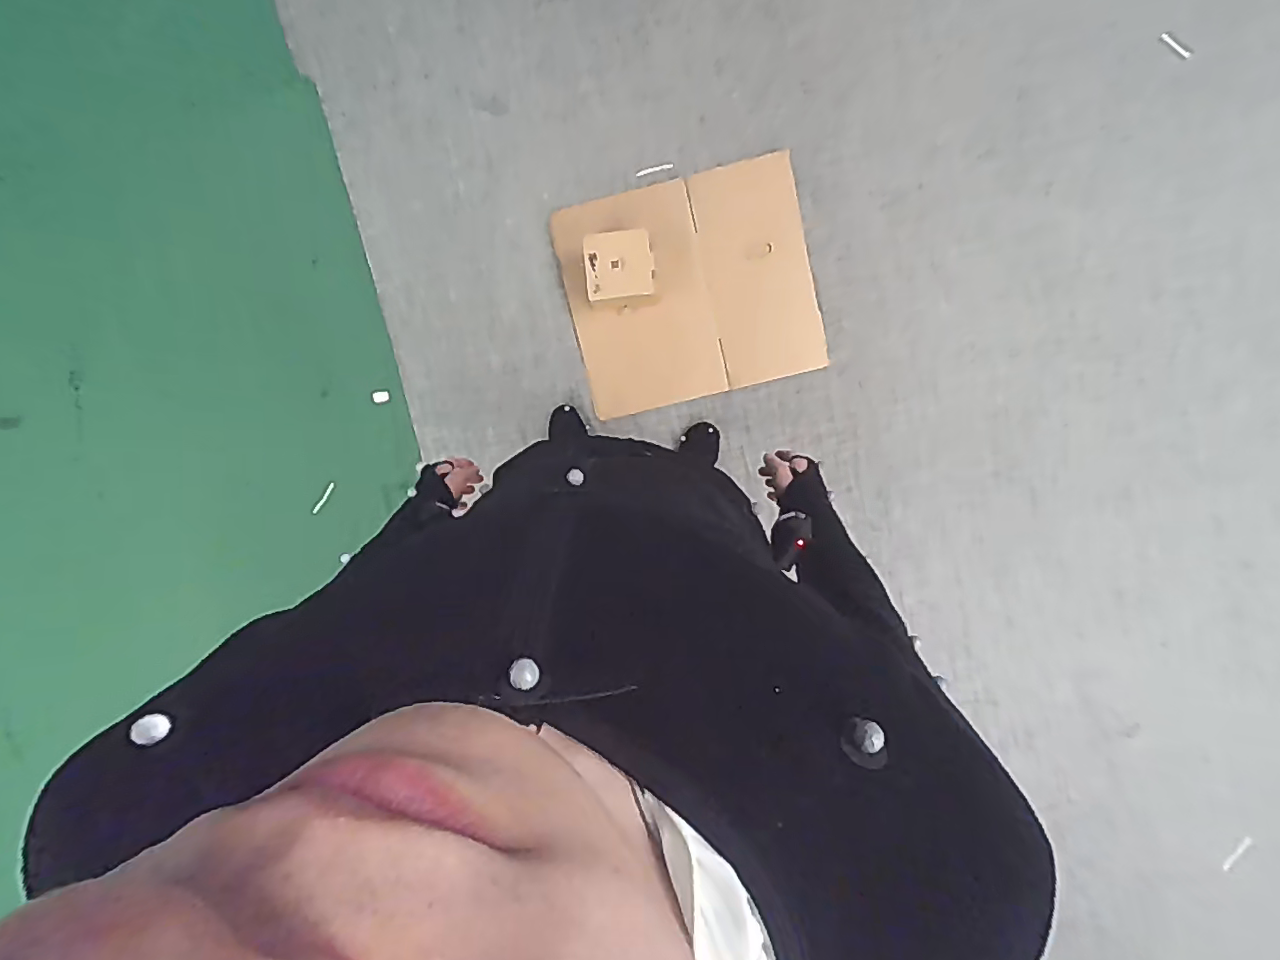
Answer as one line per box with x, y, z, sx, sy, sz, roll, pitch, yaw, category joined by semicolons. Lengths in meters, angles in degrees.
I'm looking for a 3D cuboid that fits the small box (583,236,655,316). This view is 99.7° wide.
-0.053;-0.550;1.474;0.179;0.176;0.168;-5;97;3;small box
